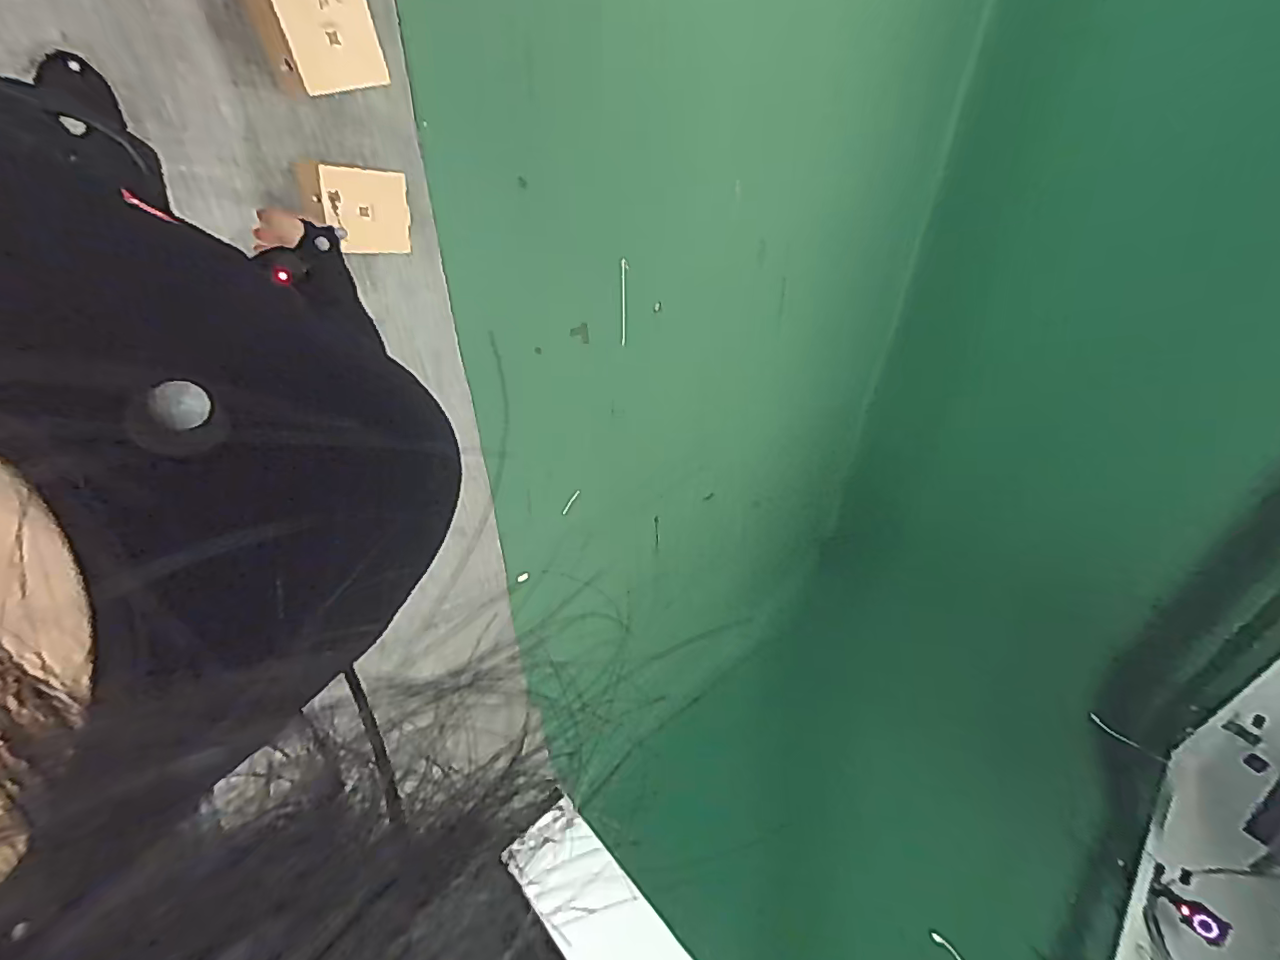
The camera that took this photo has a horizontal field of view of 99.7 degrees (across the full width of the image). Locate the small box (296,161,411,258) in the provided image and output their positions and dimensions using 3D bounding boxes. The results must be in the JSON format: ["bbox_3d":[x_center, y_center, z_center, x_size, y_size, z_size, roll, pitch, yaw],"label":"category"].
[{"bbox_3d":[-0.634,-0.601,1.204,0.179,0.176,0.168,-19,130,-40],"label":"small box"}]

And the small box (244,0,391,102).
[{"bbox_3d":[-0.619,-0.847,1.039,0.168,0.176,0.179,-34,138,-29],"label":"small box"}]
